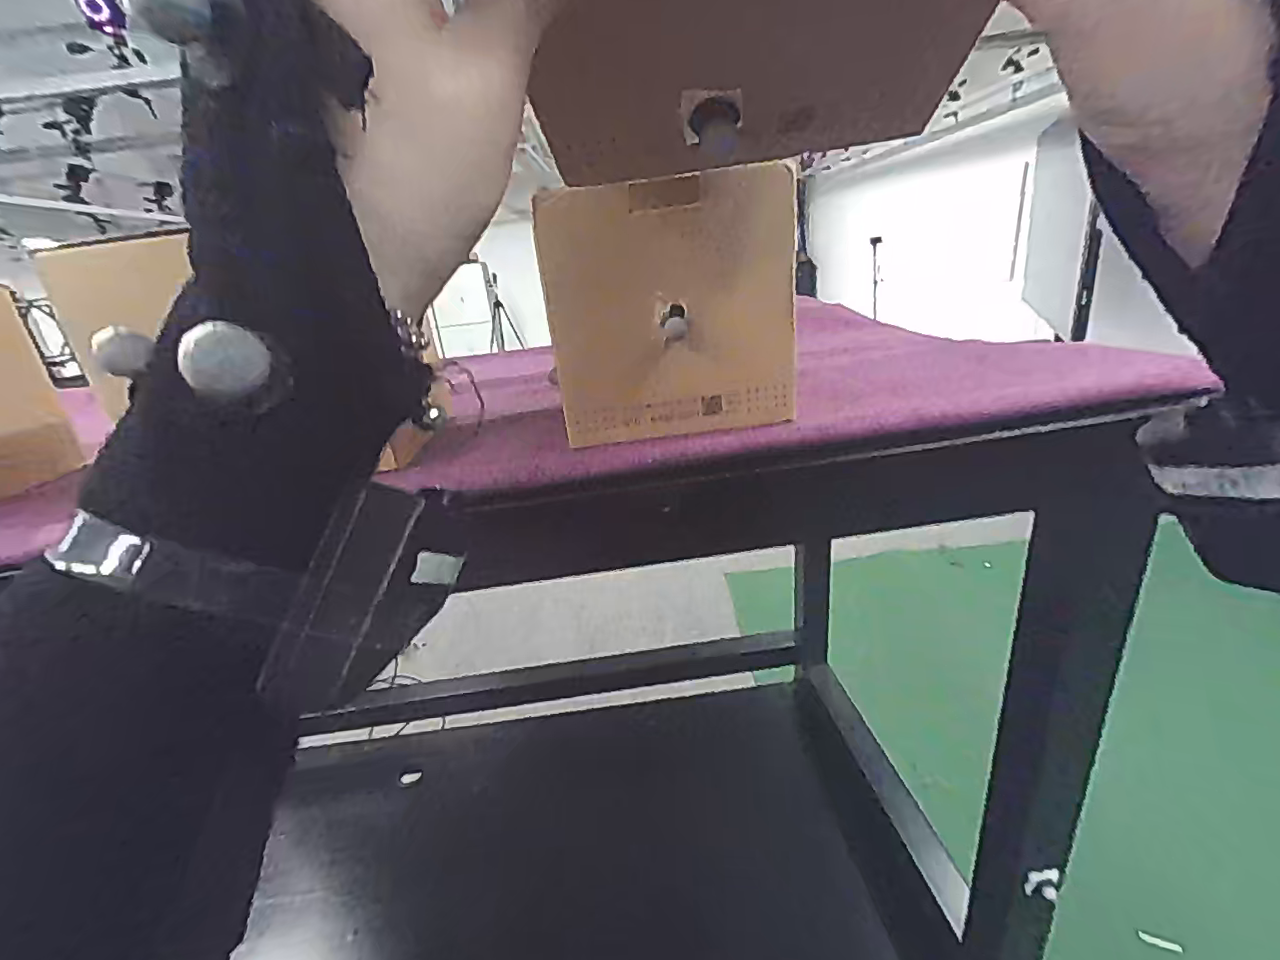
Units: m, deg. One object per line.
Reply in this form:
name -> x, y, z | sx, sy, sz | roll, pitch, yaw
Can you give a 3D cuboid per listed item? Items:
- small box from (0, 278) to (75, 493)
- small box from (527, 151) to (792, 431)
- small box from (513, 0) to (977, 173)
small box -> -0.592, -0.056, 0.401 | 0.168, 0.176, 0.179 | -8, 20, -5
small box -> 0.018, -0.142, 0.431 | 0.168, 0.176, 0.179 | -7, 22, 0
small box -> 0.029, -0.244, 0.179 | 0.168, 0.179, 0.176 | -6, -4, 6
